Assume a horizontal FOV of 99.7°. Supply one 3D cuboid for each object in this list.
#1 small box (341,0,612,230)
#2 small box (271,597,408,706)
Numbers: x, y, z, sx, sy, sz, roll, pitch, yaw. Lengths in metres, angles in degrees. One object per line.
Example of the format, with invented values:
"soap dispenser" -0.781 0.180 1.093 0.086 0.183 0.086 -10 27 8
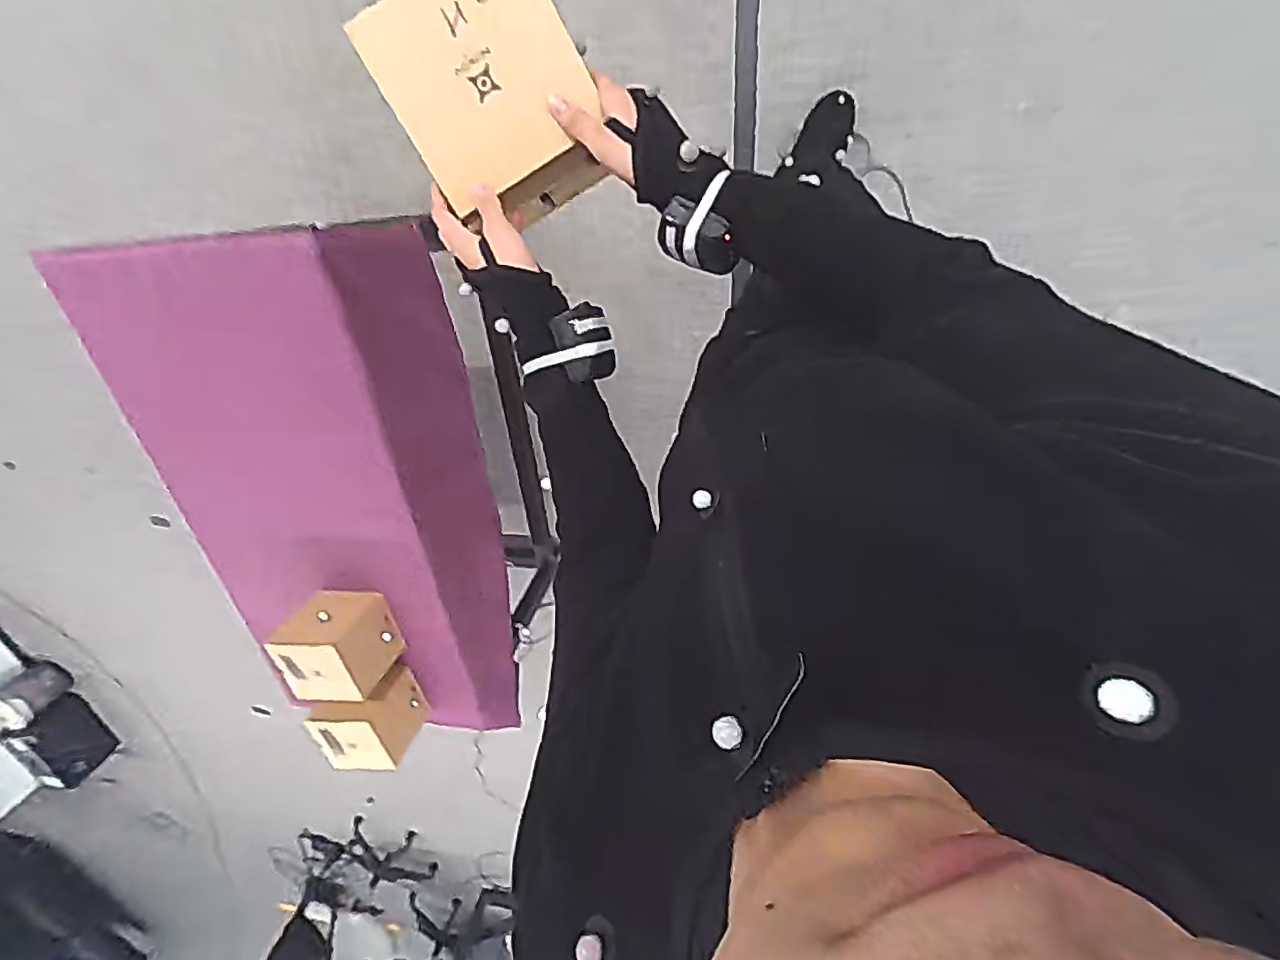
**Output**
"small box" -0.137 -0.371 0.534 0.168 0.176 0.179 -29 104 7
"small box" -0.665 0.379 1.216 0.179 0.176 0.168 -3 118 14
